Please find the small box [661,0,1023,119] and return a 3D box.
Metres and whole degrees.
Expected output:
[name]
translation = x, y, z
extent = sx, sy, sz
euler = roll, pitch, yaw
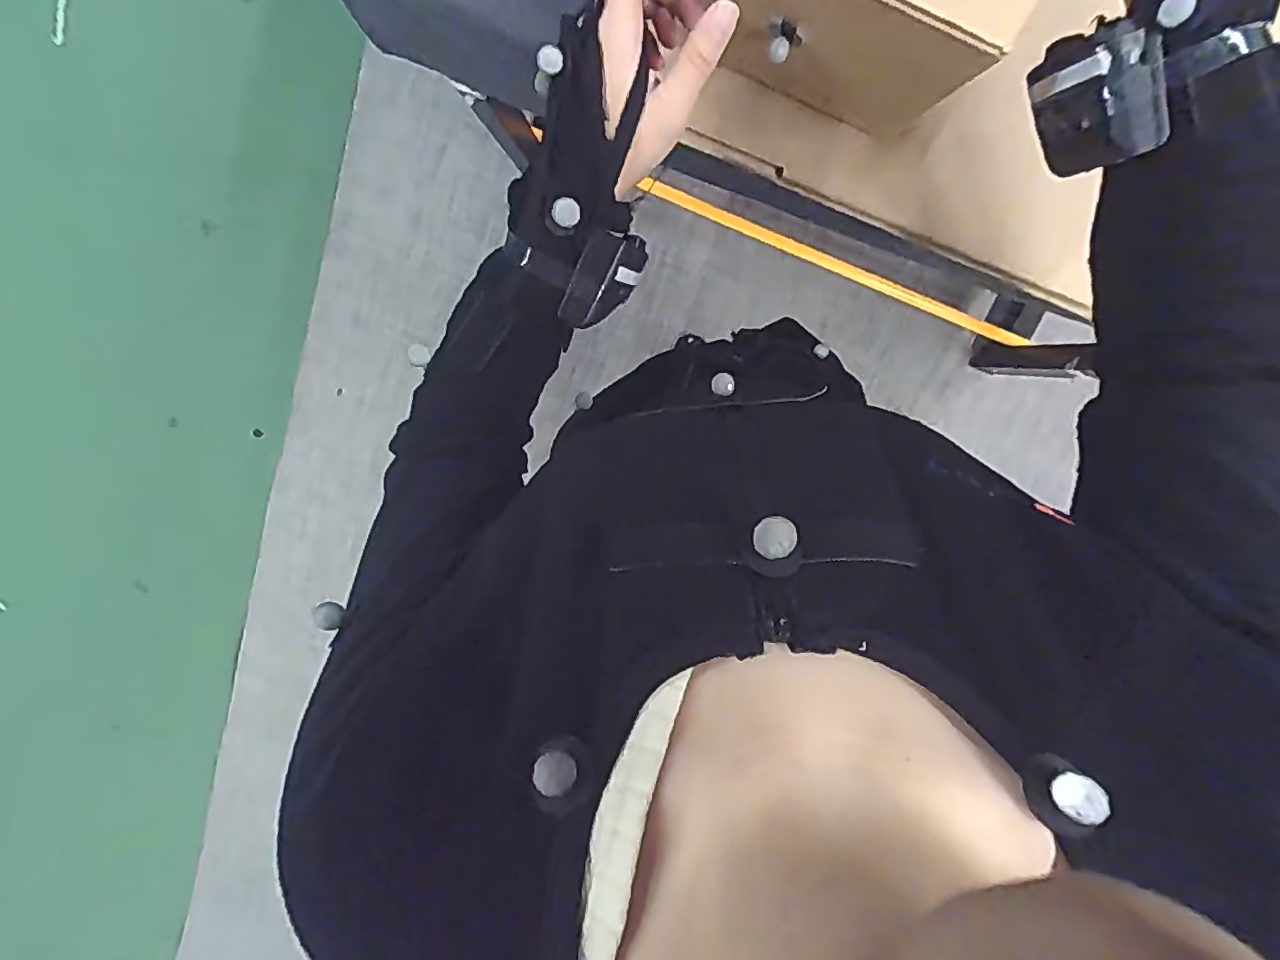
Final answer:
[small box]
translation = 0.116, -0.318, 0.278
extent = 0.179, 0.176, 0.168
euler = 24, 112, -2
